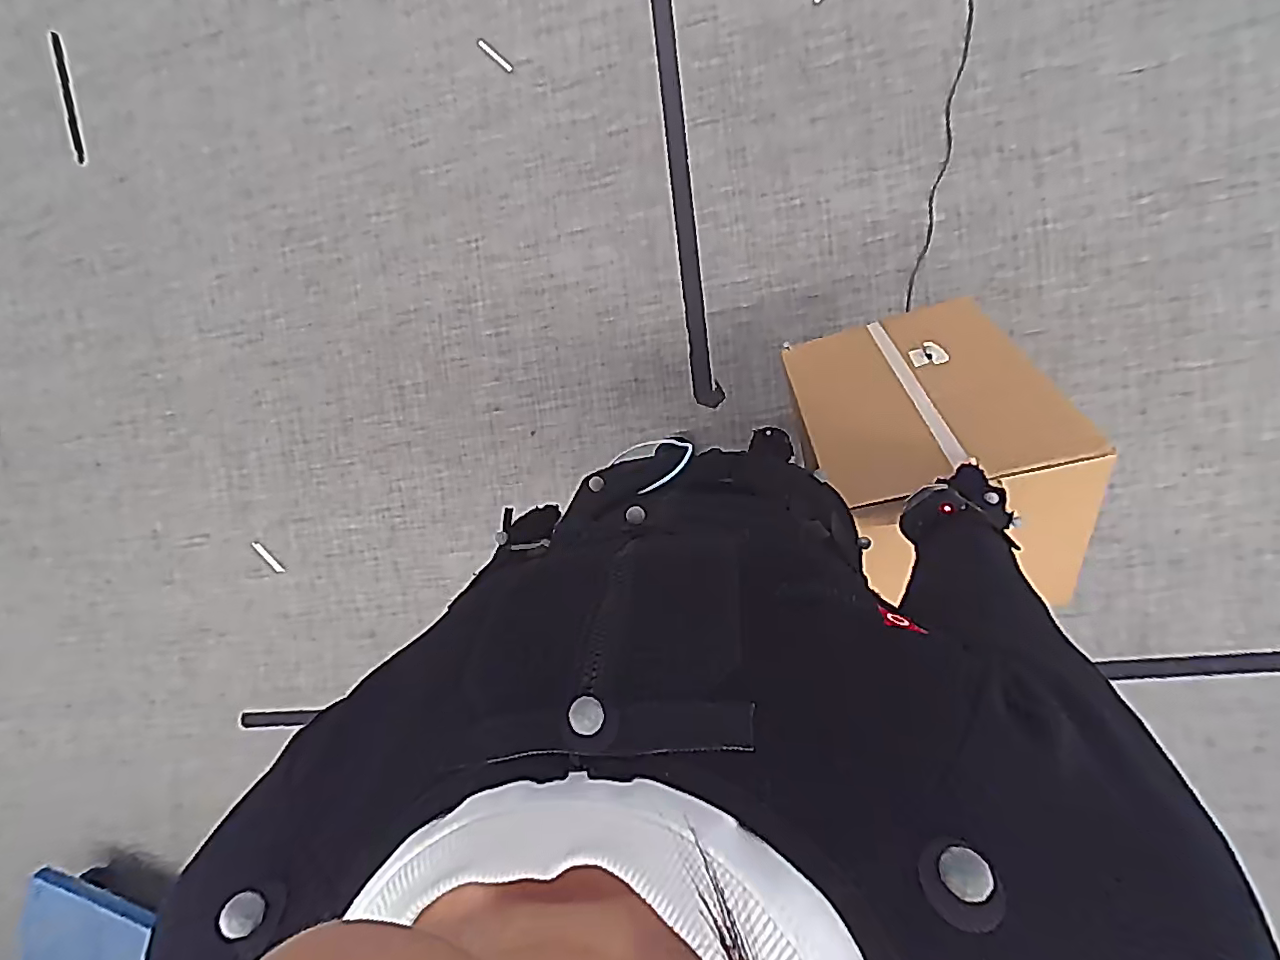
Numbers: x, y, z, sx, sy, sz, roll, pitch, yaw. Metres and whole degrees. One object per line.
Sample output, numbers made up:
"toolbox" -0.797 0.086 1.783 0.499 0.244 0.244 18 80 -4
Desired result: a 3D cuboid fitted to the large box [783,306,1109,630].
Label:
"large box" 0.452 -0.024 0.898 0.320 0.408 0.320 -13 130 12
